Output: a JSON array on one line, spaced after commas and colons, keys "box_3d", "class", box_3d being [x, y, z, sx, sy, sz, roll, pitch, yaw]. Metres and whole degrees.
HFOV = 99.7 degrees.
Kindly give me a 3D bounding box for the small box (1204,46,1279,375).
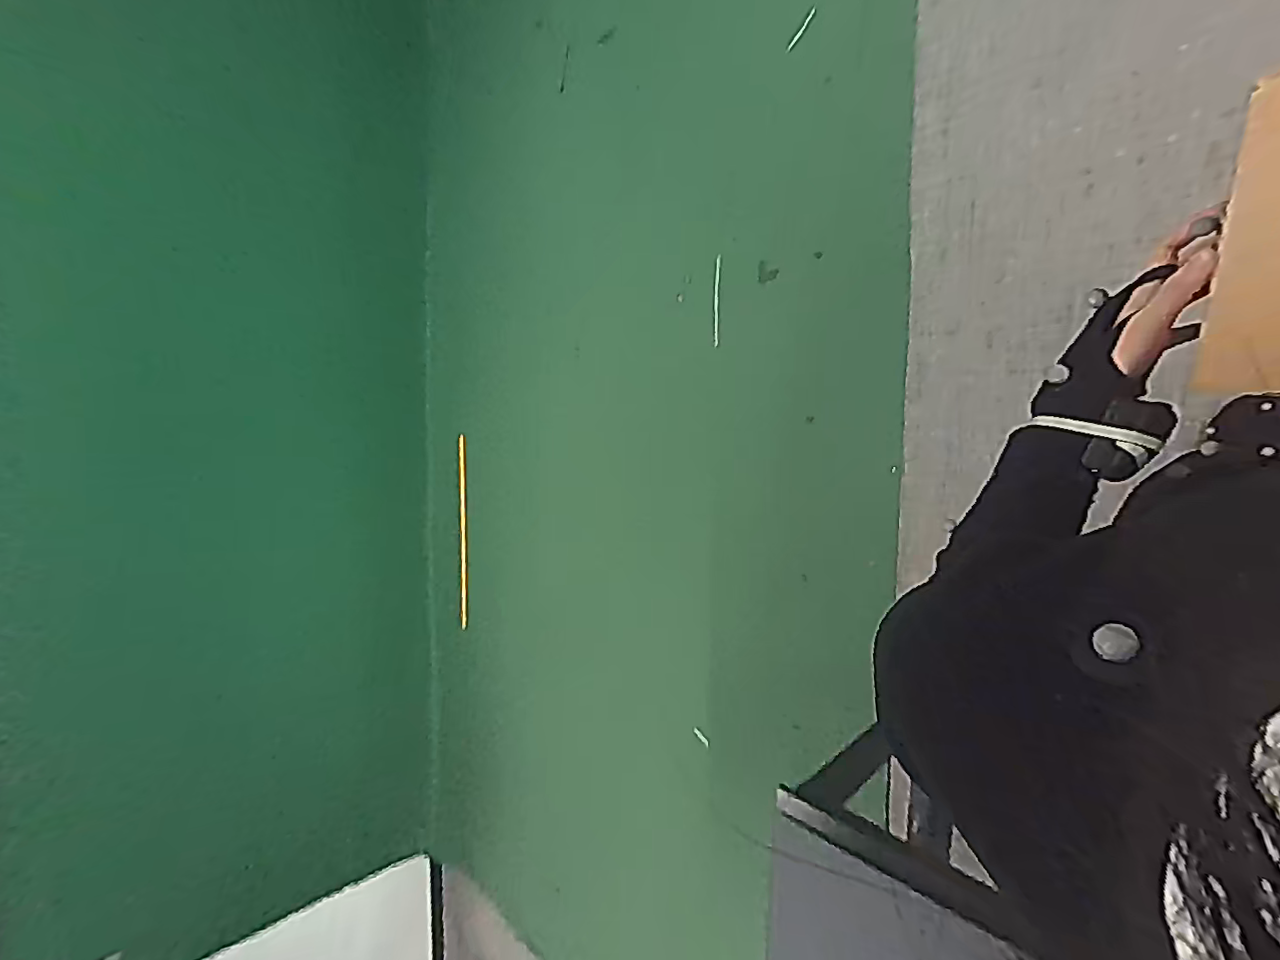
[{"box_3d": [0.446, -0.166, 0.294, 0.168, 0.176, 0.179, 13, 126, 45], "class": "small box"}]
